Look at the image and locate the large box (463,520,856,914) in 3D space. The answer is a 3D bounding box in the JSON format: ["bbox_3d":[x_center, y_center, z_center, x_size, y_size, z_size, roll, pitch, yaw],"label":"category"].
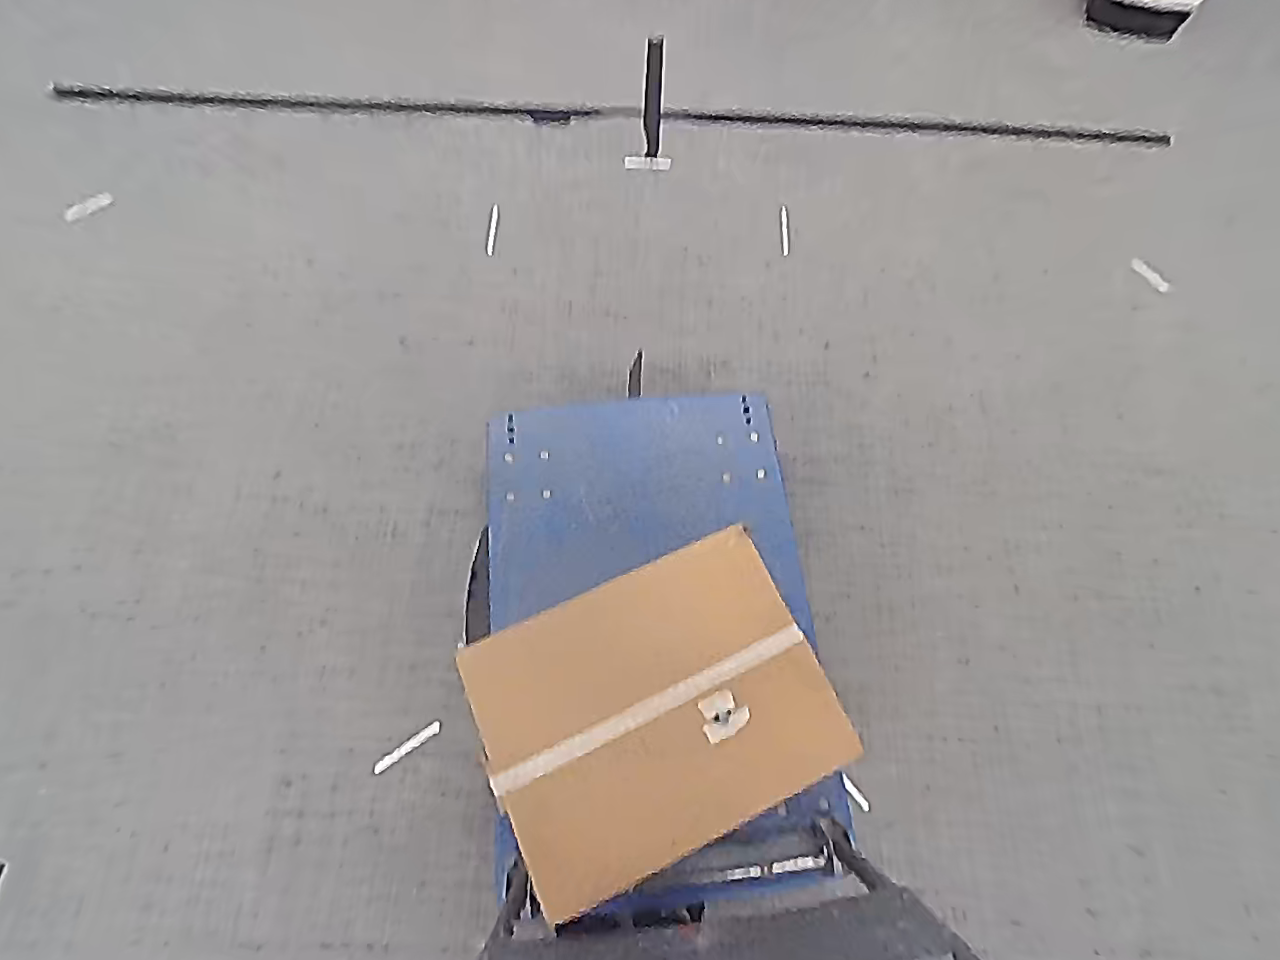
[{"bbox_3d":[0.014,0.311,0.798,0.408,0.320,0.320,-24,75,-10],"label":"large box"}]
